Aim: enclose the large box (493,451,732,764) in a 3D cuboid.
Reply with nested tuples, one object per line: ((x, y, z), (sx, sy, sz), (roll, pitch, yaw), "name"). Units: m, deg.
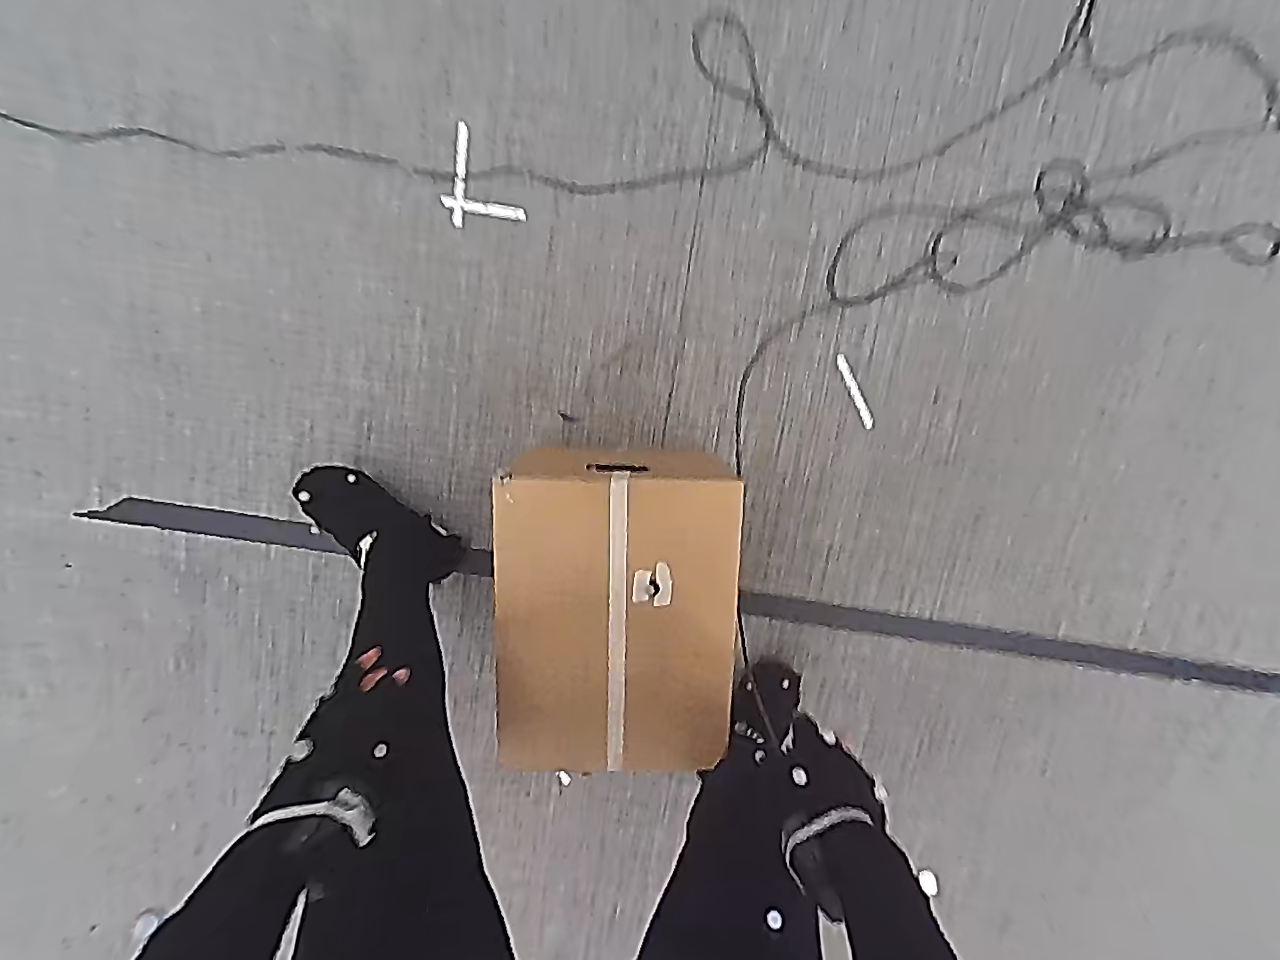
((-0.039, 0.171, 0.863), (0.320, 0.320, 0.408), (2, 98, -1), "large box")
